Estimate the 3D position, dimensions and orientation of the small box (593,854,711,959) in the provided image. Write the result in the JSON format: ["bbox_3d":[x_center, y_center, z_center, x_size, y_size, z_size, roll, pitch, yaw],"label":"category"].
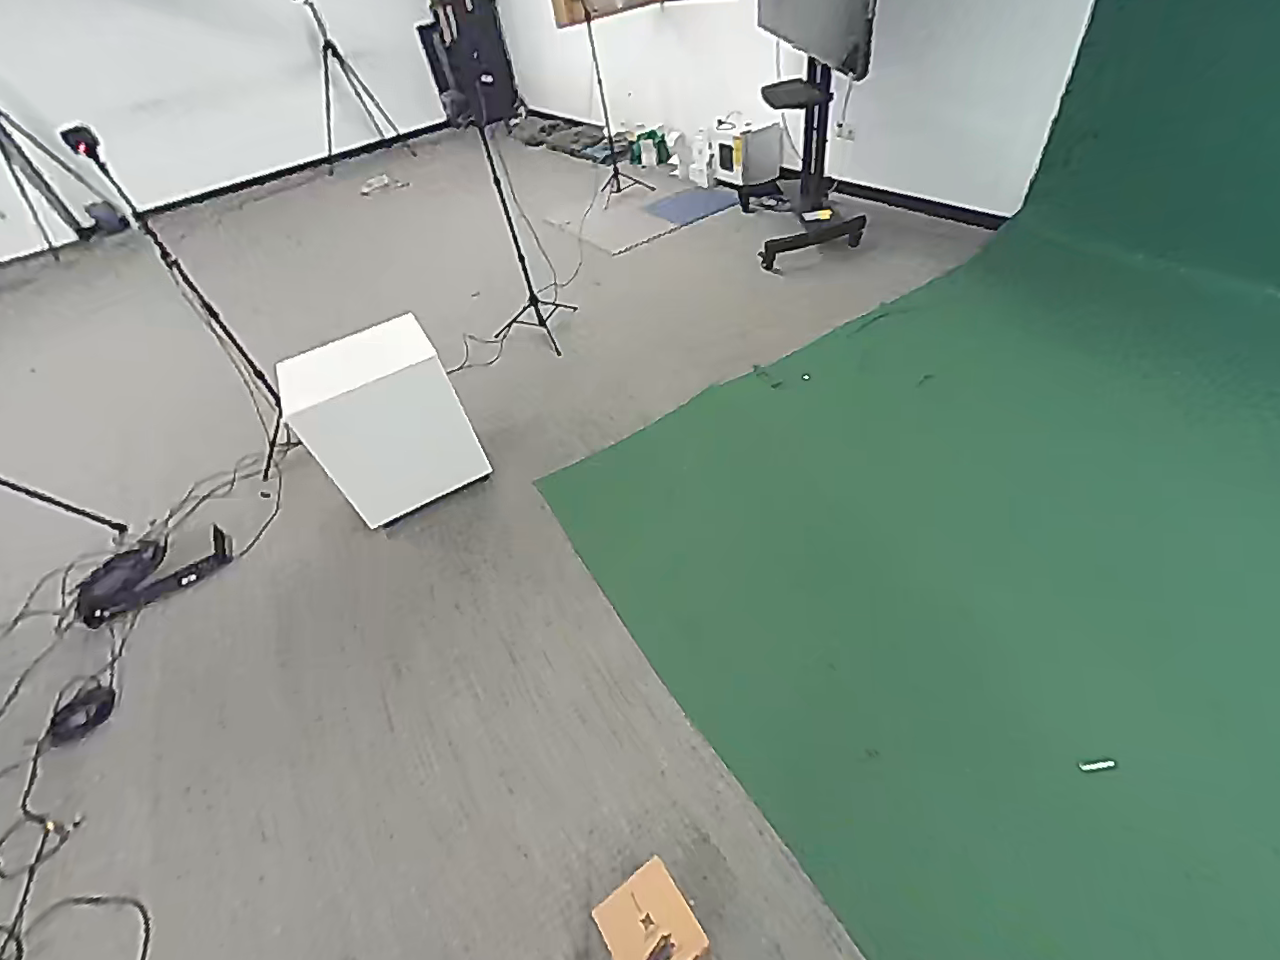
[{"bbox_3d":[0.030,0.911,1.096,0.168,0.176,0.179,-31,47,-18],"label":"small box"}]
